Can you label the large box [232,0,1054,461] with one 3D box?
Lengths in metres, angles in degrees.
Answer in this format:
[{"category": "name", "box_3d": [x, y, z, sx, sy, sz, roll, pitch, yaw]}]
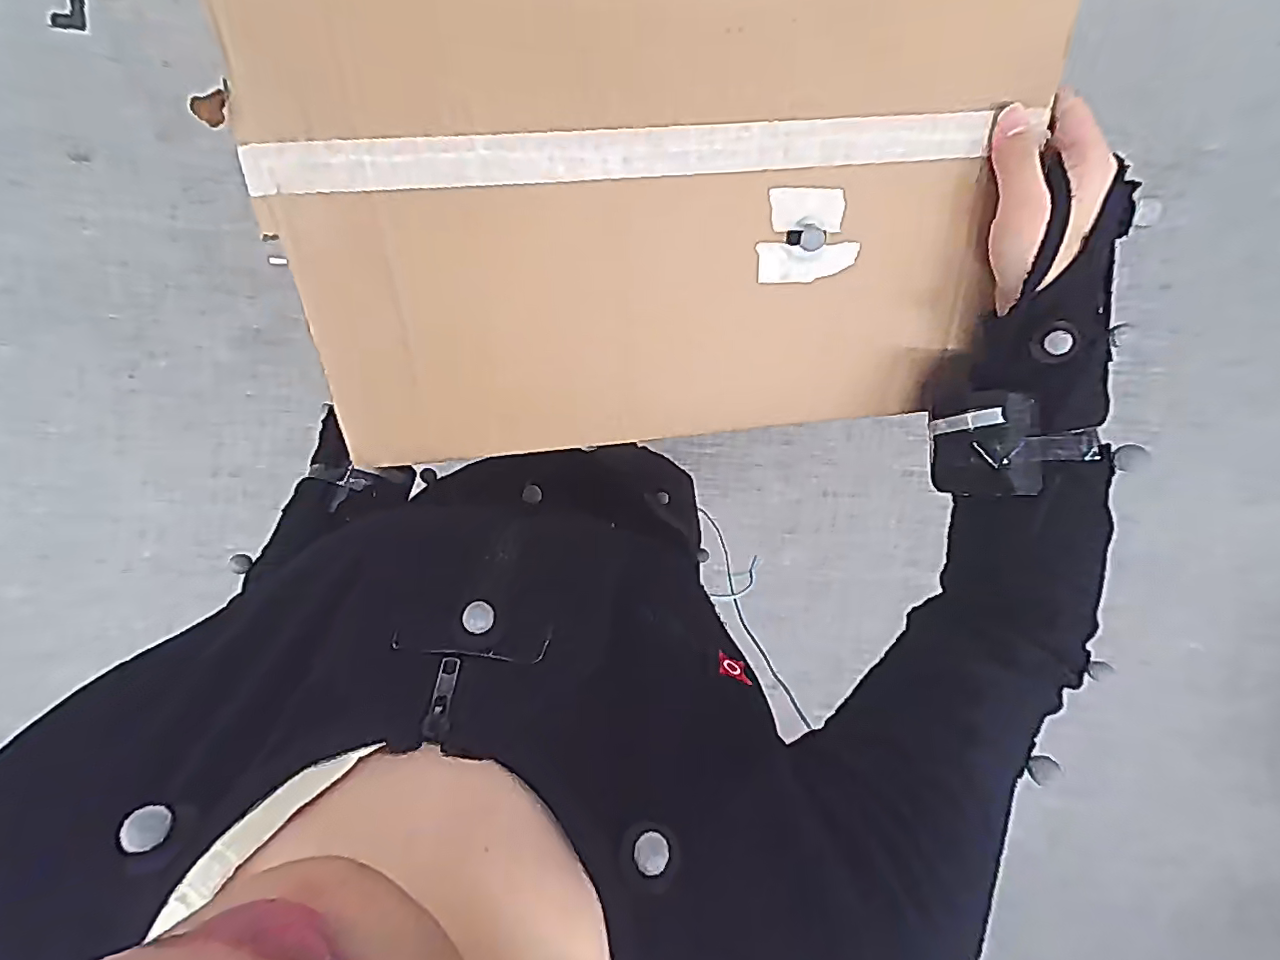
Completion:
[{"category": "large box", "box_3d": [-0.003, -0.236, 0.419, 0.408, 0.320, 0.320, -7, 117, -7]}]
